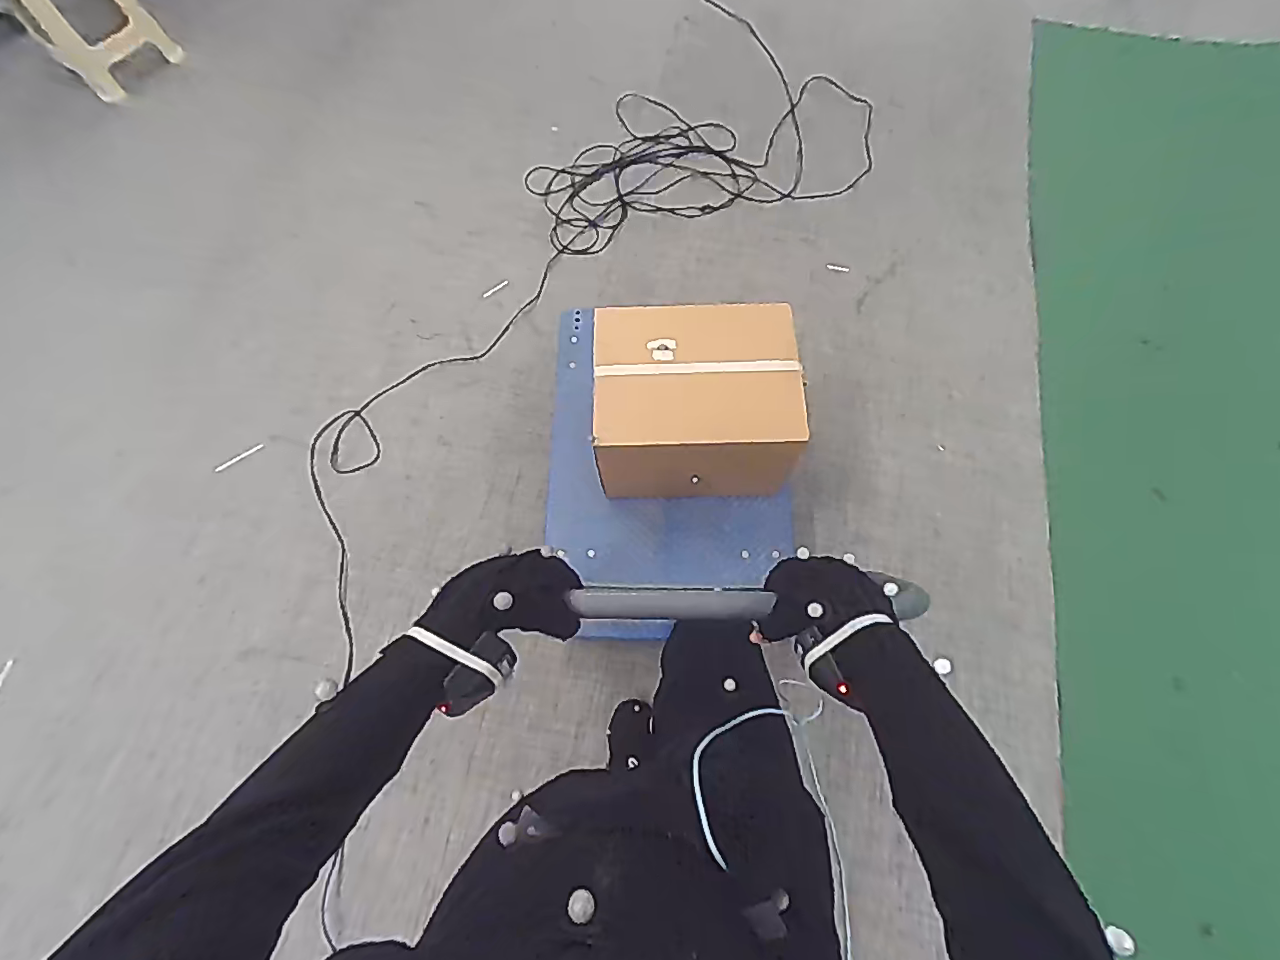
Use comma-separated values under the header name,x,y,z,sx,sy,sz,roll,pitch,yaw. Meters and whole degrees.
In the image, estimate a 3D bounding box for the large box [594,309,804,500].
name,x,y,z,sx,sy,sz,roll,pitch,yaw
large box,0.116,-0.150,1.211,0.408,0.320,0.320,-2,69,2
